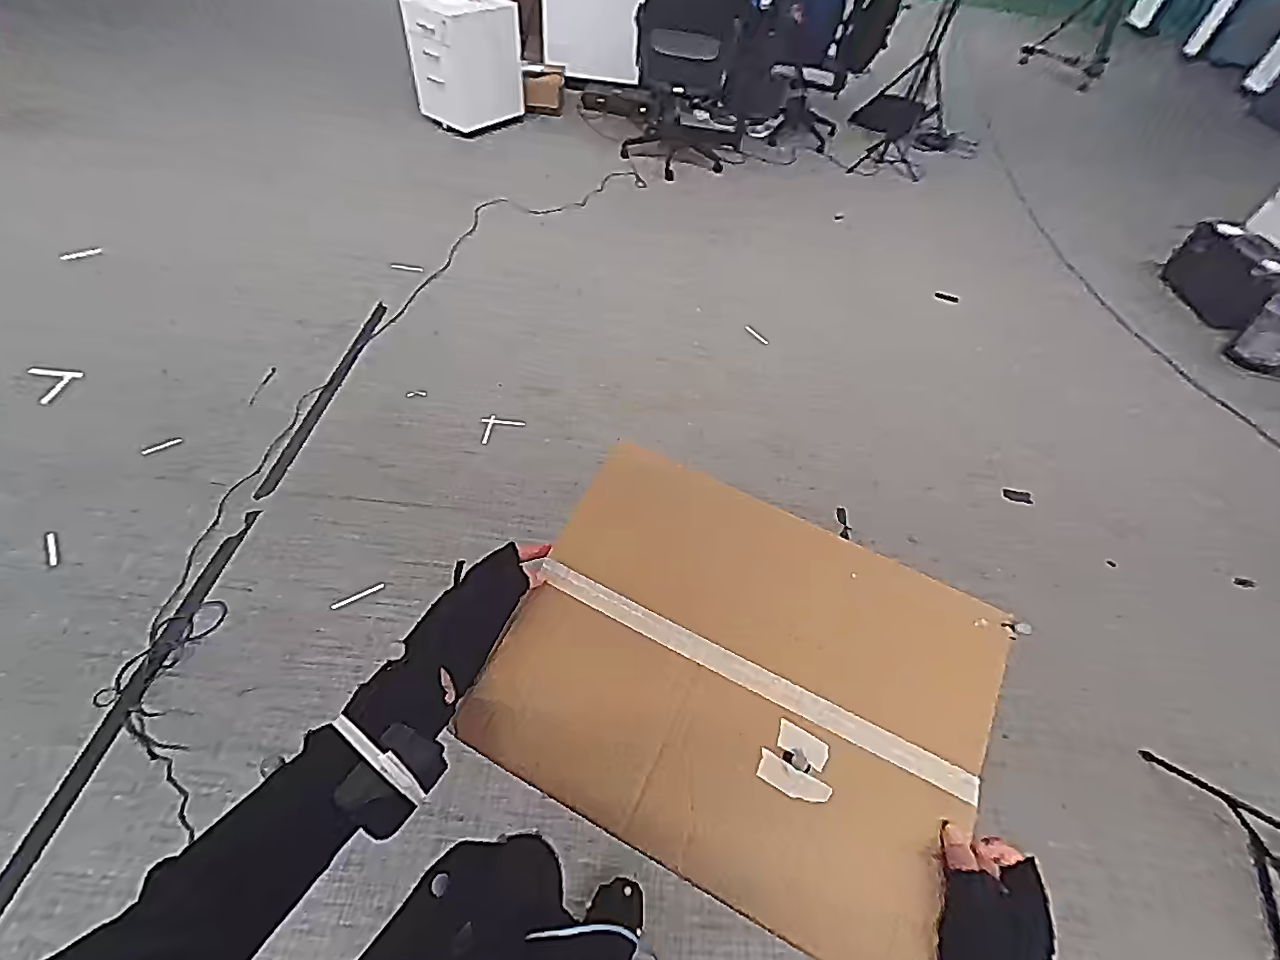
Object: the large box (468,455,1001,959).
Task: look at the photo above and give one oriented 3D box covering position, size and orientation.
[{"bbox_3d":[0.090,0.235,0.617,0.408,0.320,0.320,26,68,10],"label":"large box"}]
